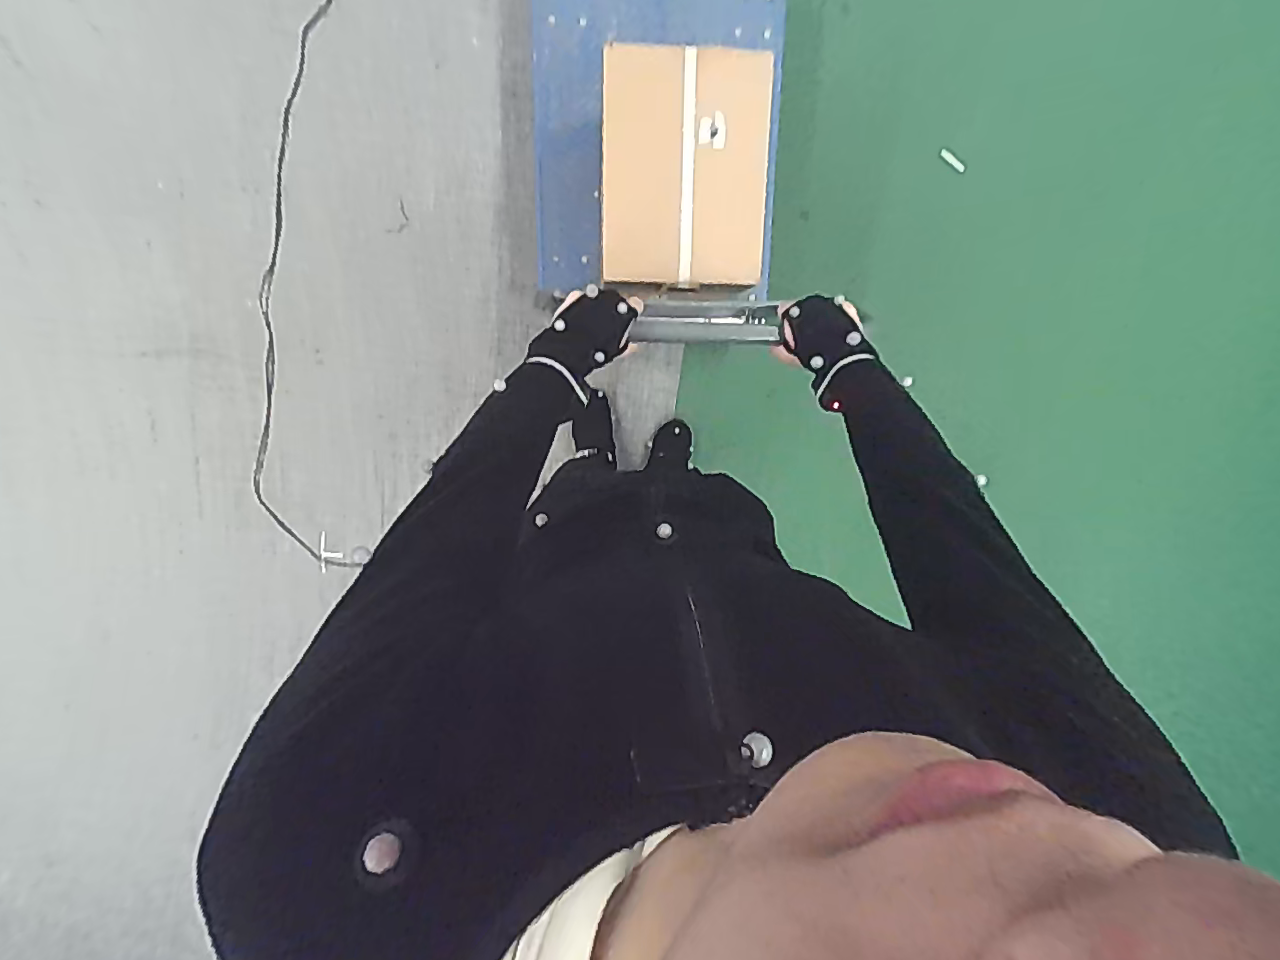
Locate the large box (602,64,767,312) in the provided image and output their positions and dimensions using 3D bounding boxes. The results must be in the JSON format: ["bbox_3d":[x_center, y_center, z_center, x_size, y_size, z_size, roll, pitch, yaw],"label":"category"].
[{"bbox_3d":[0.075,-0.590,1.174,0.320,0.320,0.408,0,100,-5],"label":"large box"}]
